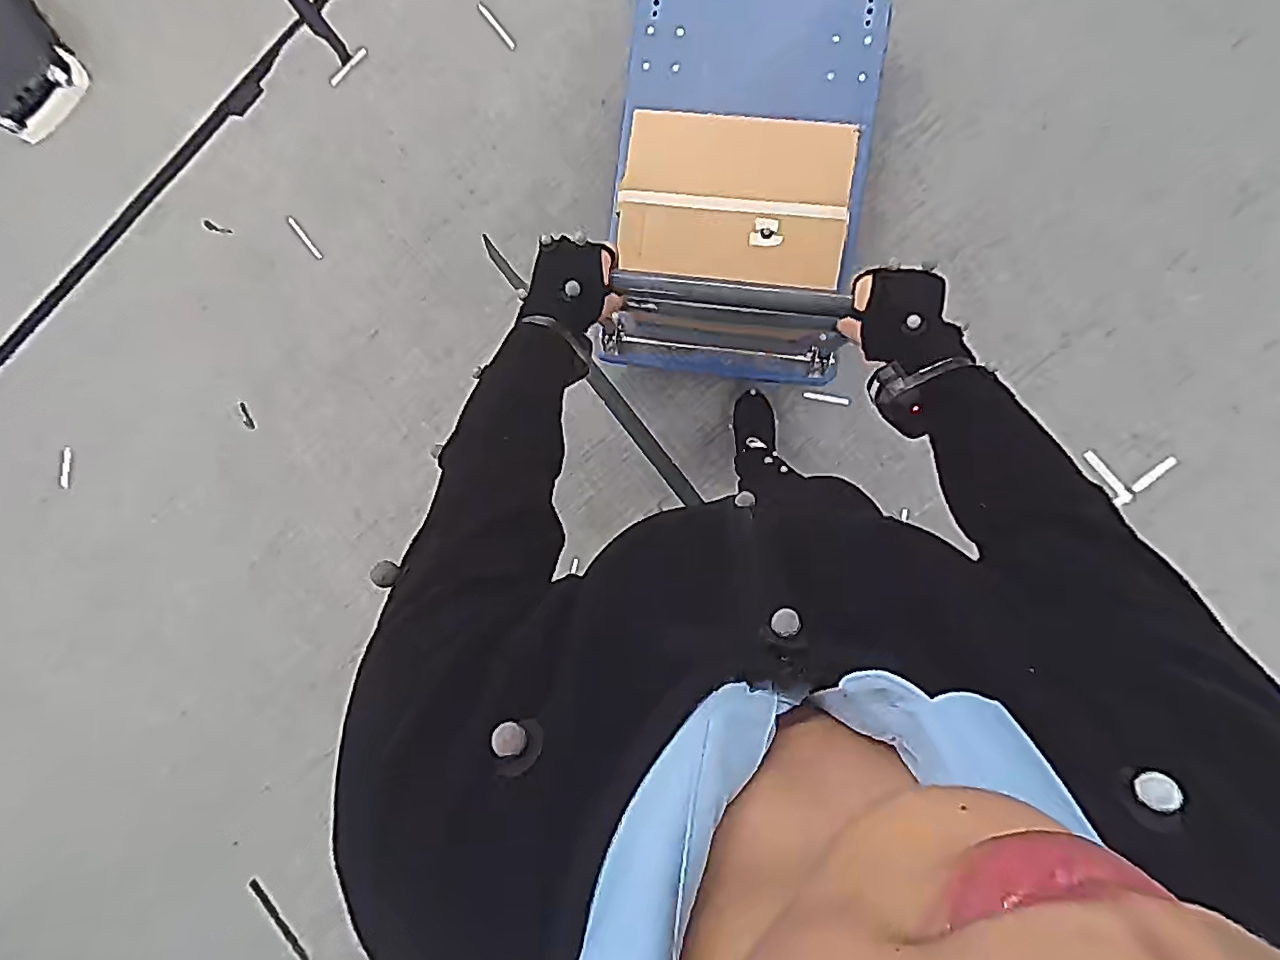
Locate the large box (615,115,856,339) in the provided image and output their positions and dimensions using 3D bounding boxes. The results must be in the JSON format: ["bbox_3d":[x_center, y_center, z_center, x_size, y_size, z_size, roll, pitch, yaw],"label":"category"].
[{"bbox_3d":[0.177,-0.495,1.121,0.408,0.320,0.320,8,94,5],"label":"large box"}]
